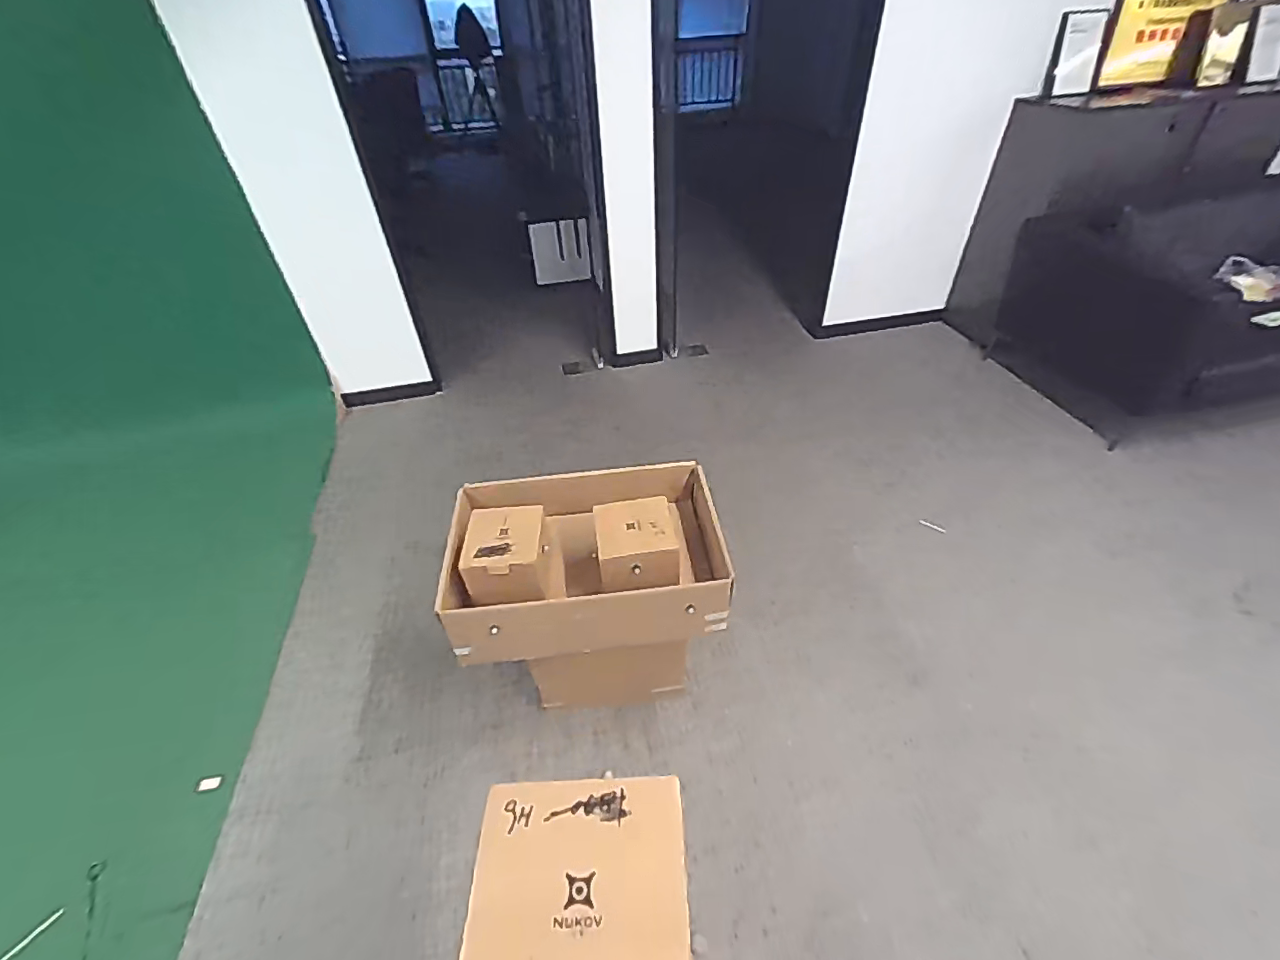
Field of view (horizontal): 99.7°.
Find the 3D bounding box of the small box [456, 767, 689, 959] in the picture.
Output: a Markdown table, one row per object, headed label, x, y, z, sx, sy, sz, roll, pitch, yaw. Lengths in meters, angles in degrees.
| label | x | y | z | sx | sy | sz | roll | pitch | yaw |
| --- | --- | --- | --- | --- | --- | --- | --- | --- | --- |
| small box | -0.044 | 0.368 | 0.461 | 0.168 | 0.176 | 0.179 | -3 | 43 | 2 |
